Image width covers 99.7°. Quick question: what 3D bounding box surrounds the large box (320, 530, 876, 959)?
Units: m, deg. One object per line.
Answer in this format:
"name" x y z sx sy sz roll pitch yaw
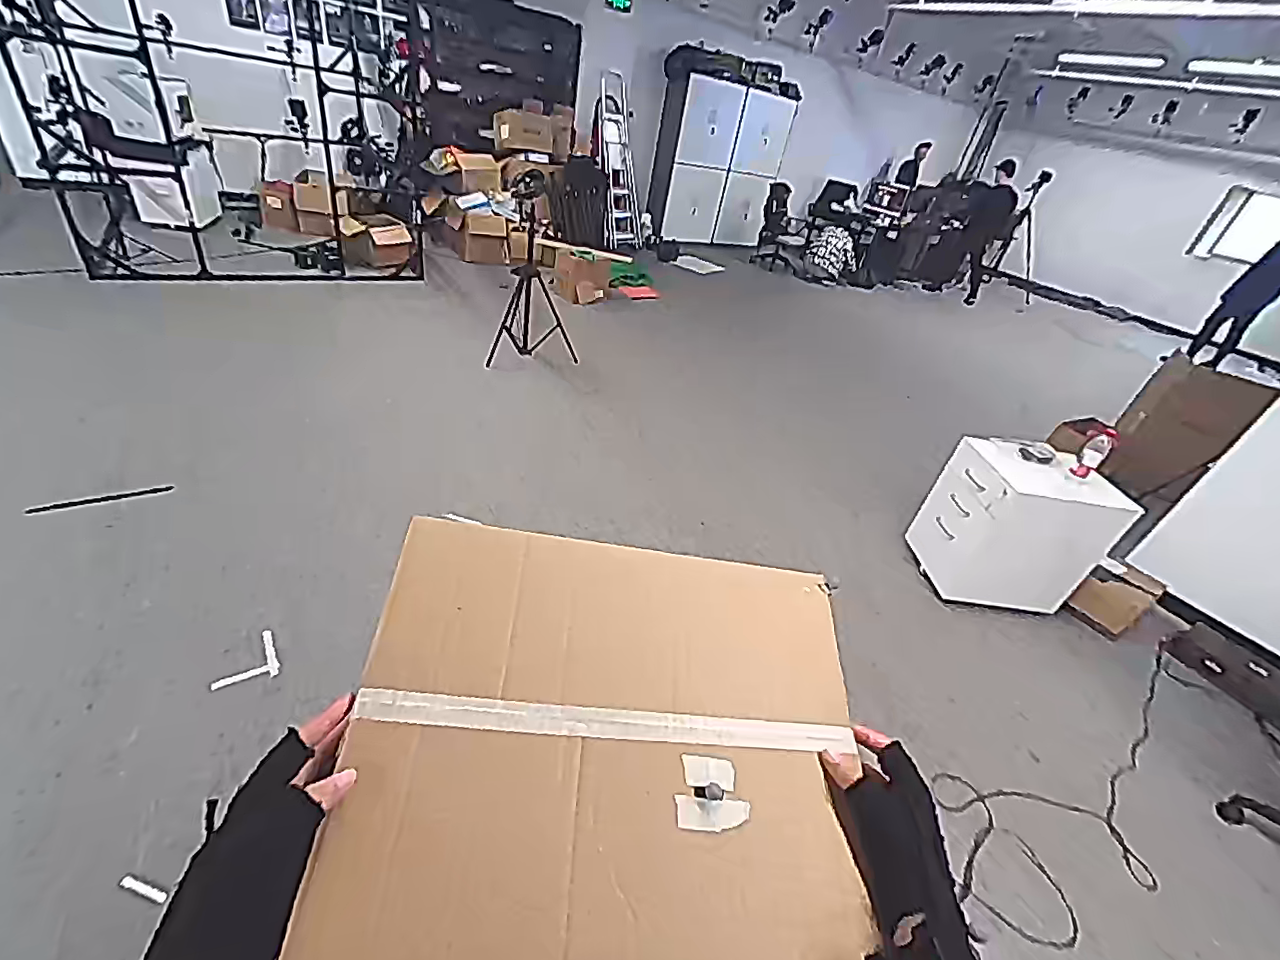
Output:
"large box" -0.045 0.281 0.574 0.408 0.320 0.320 10 56 -11
